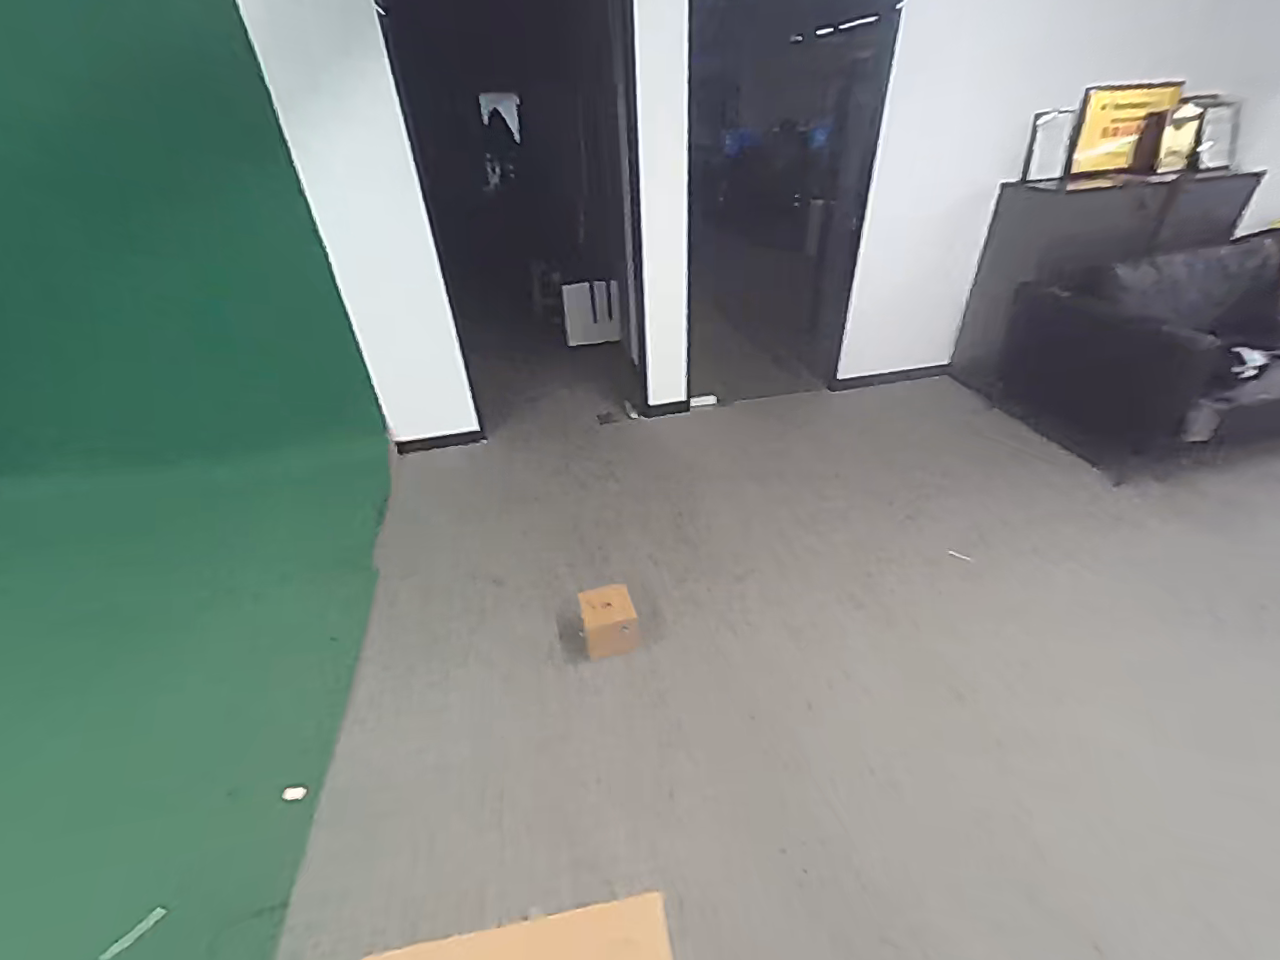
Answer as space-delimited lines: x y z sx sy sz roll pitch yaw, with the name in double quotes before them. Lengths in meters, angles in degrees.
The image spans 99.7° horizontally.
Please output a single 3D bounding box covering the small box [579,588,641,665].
"small box" -0.101 0.499 1.839 0.179 0.176 0.168 -12 35 -12
